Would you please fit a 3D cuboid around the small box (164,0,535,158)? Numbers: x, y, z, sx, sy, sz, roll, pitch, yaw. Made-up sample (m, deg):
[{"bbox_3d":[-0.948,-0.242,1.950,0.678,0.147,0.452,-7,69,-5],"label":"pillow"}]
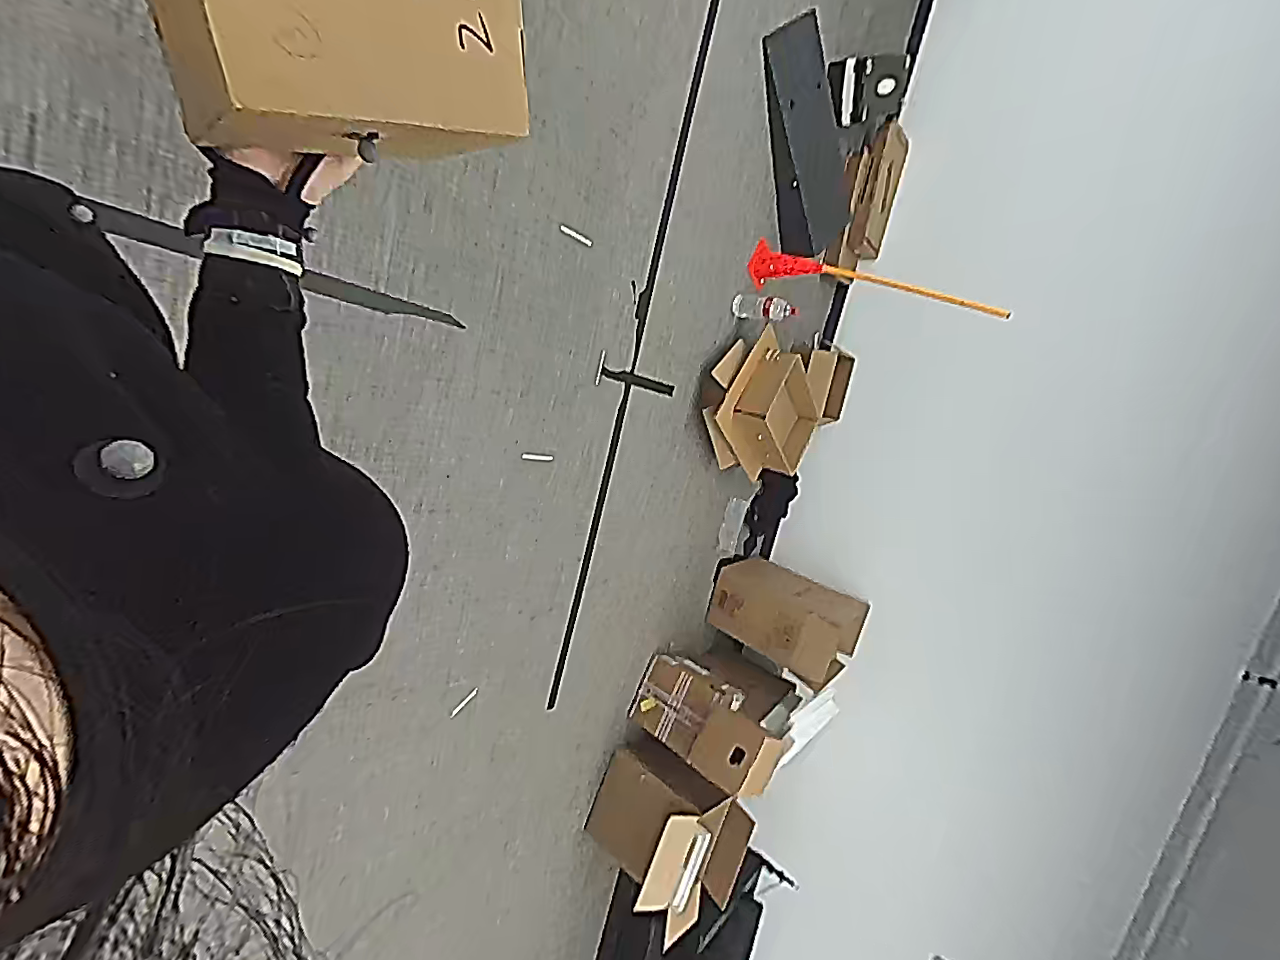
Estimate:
[{"bbox_3d":[-0.192,-0.309,0.344,0.179,0.176,0.168,-23,124,-38],"label":"small box"}]
